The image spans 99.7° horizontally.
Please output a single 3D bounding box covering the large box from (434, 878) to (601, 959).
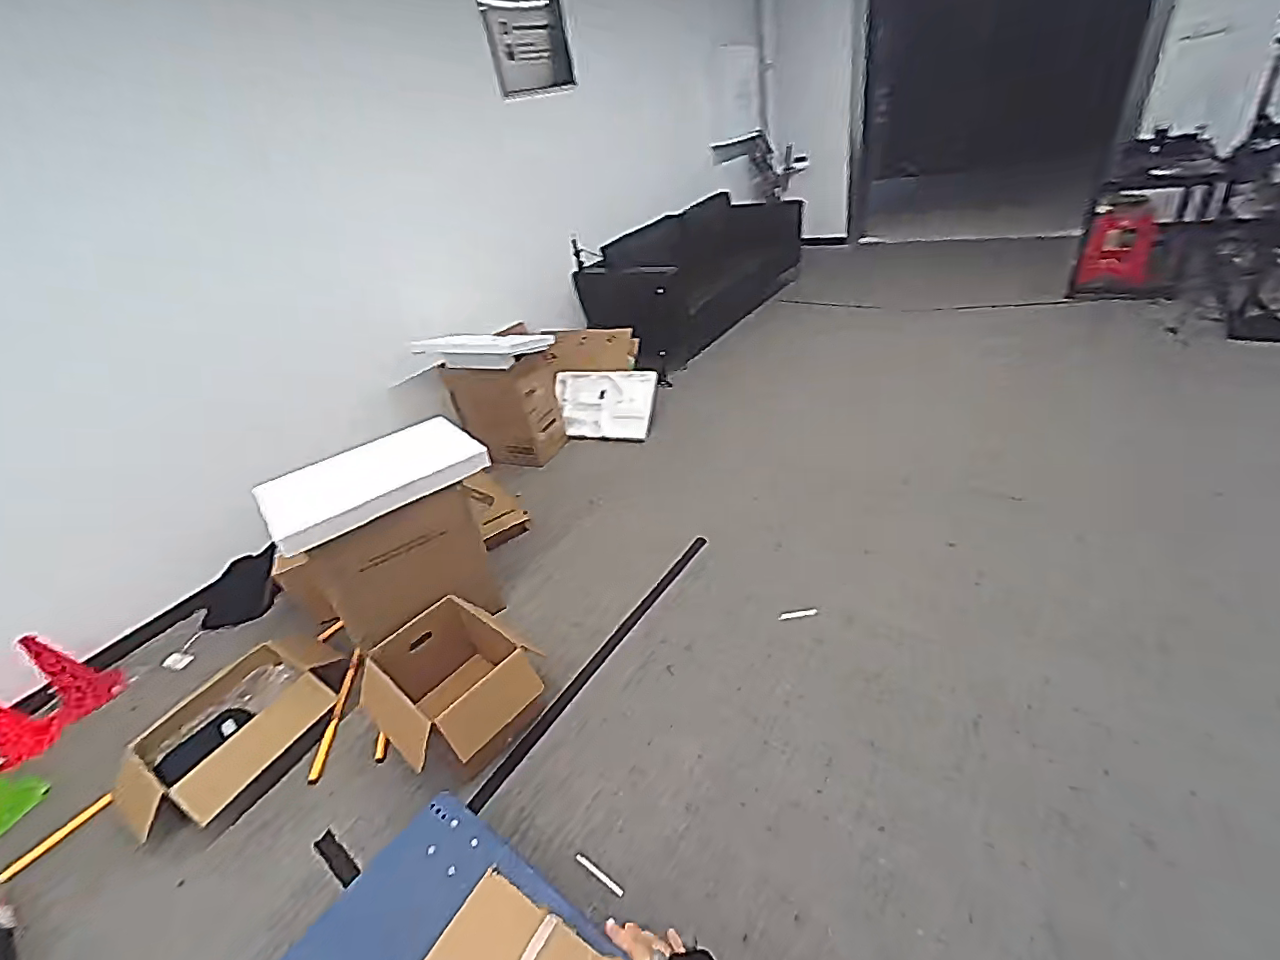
[{"bbox_3d":[-0.217,0.965,0.834,0.320,0.320,0.408,12,38,31],"label":"large box"}]
